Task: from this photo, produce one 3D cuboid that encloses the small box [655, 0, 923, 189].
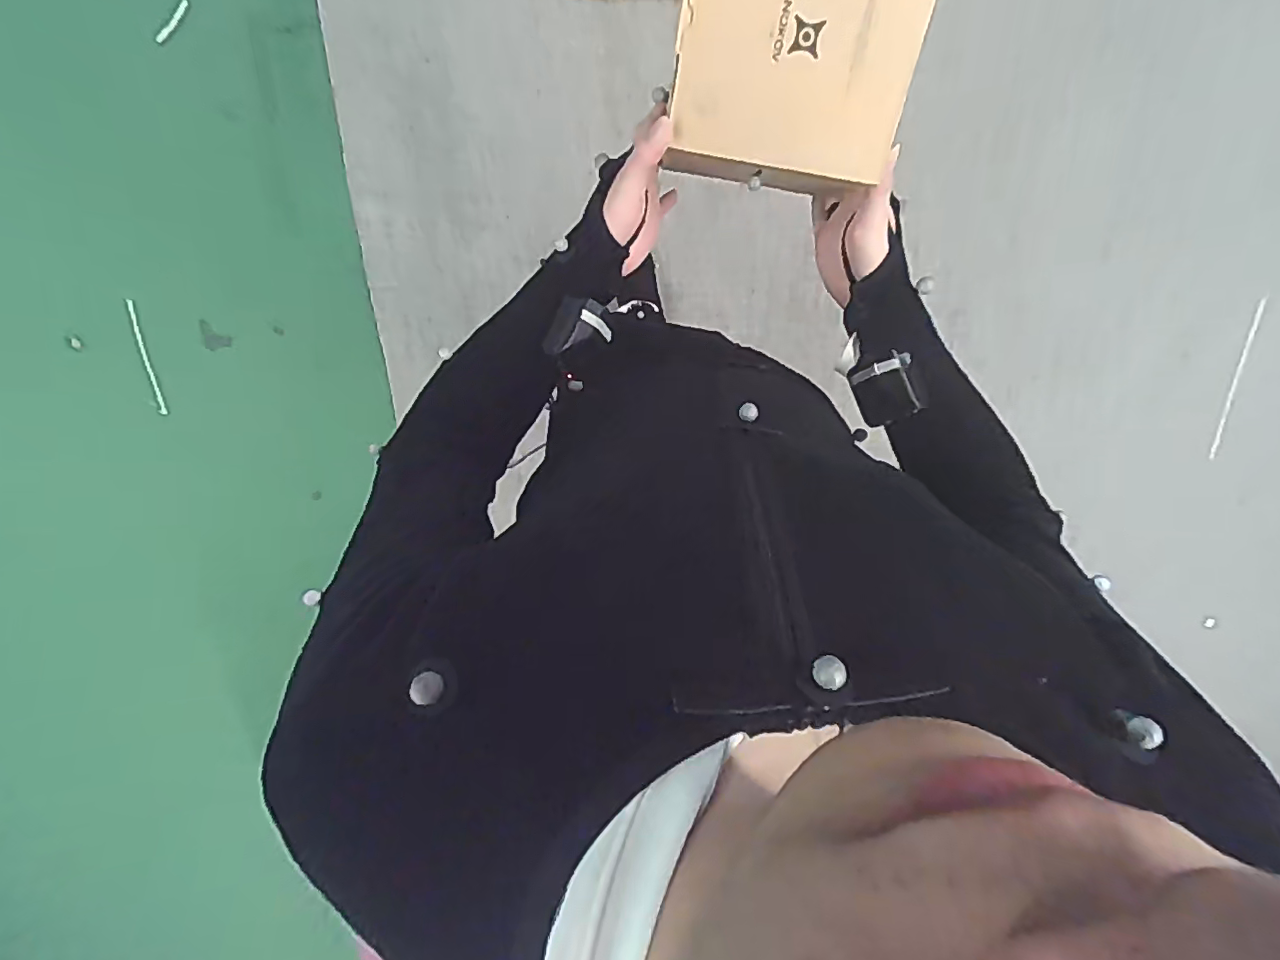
[{"bbox_3d":[0.113,-0.356,0.463,0.179,0.176,0.168,9,115,-2],"label":"small box"}]
